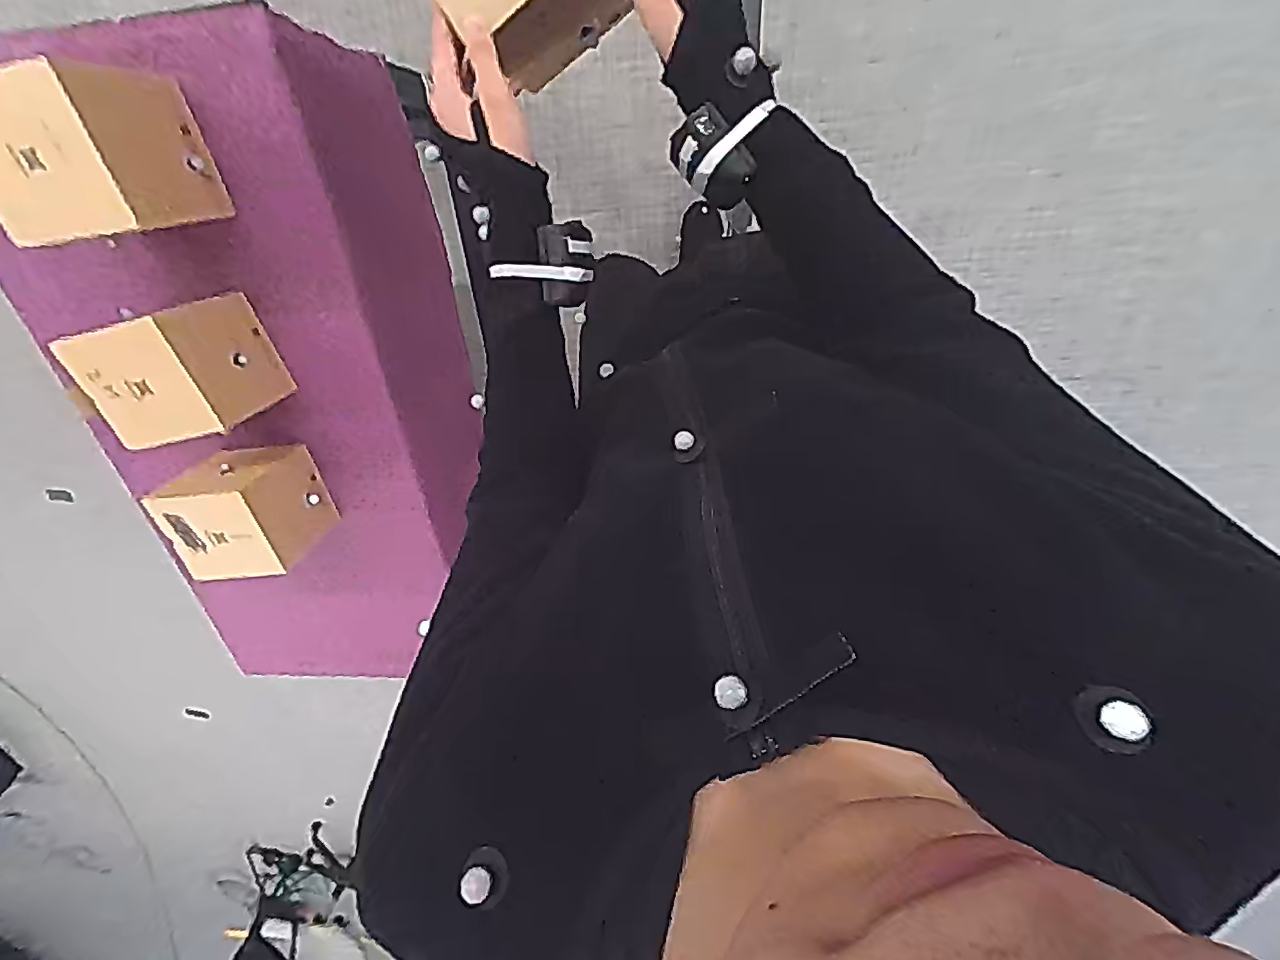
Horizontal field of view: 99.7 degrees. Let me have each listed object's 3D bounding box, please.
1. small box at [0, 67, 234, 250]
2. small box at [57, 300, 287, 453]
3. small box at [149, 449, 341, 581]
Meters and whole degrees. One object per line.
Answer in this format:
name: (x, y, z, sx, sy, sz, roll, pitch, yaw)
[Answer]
small box: (-0.682, -0.398, 0.686, 0.179, 0.176, 0.168, -4, 120, 9)
small box: (-0.683, -0.162, 0.822, 0.179, 0.176, 0.168, -9, 118, 12)
small box: (-0.675, 0.058, 0.949, 0.179, 0.176, 0.168, -5, 119, 8)
